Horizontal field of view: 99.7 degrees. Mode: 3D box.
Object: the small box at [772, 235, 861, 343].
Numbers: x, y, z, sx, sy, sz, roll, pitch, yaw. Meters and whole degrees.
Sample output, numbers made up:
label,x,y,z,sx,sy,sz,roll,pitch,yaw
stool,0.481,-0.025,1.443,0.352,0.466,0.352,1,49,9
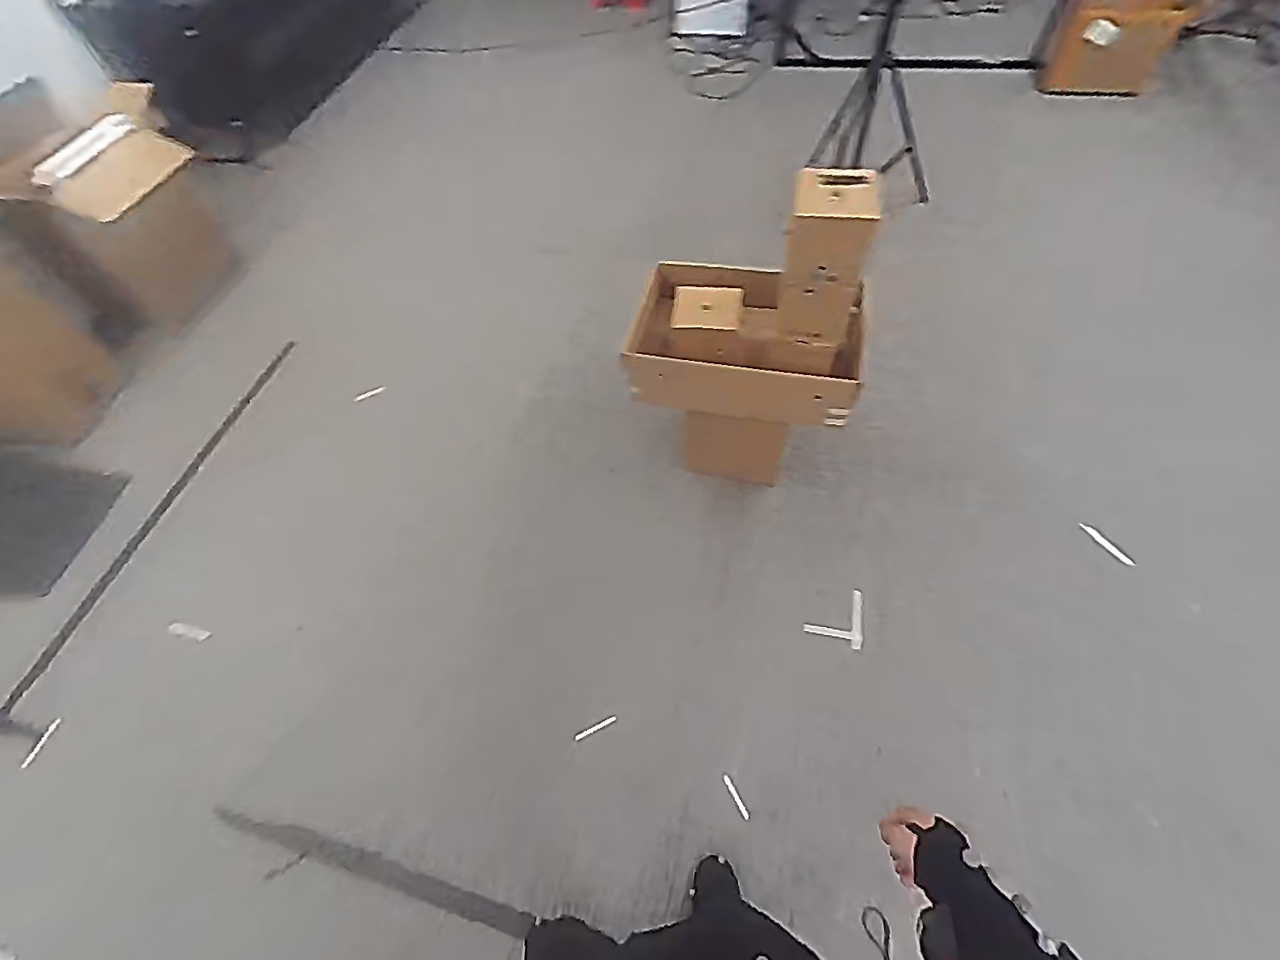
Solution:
label,x,y,z,sx,sy,sz,roll,pitch,yaw
small box,0.425,-0.463,1.317,0.168,0.176,0.179,12,60,13
